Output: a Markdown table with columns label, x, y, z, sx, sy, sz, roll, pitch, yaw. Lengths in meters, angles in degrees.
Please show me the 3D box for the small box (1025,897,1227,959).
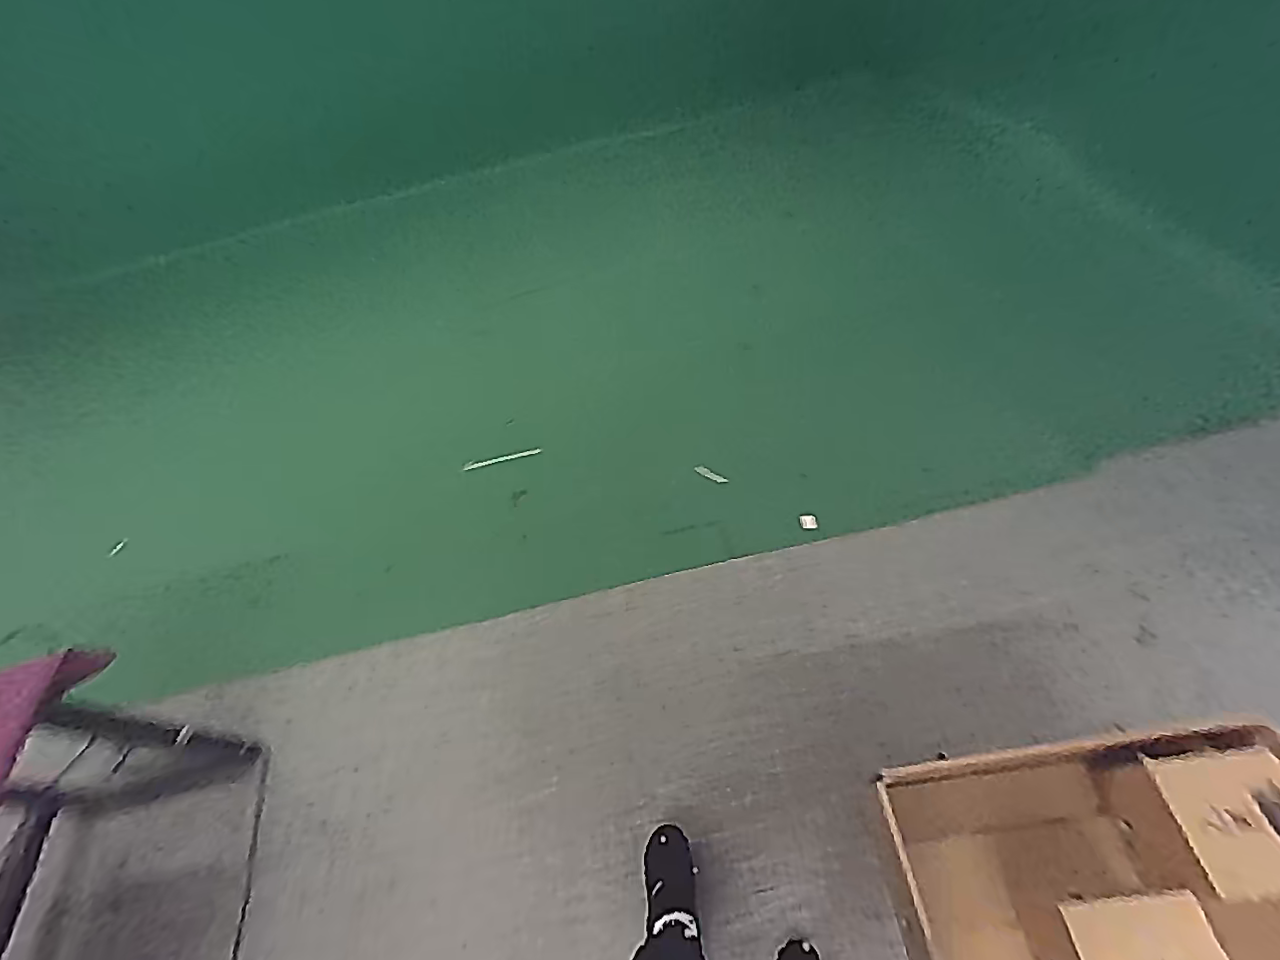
| label | x | y | z | sx | sy | sz | roll | pitch | yaw |
| --- | --- | --- | --- | --- | --- | --- | --- | --- | --- |
| small box | 0.666 | 0.681 | 0.734 | 0.179 | 0.176 | 0.168 | -9 | 56 | 5 |
